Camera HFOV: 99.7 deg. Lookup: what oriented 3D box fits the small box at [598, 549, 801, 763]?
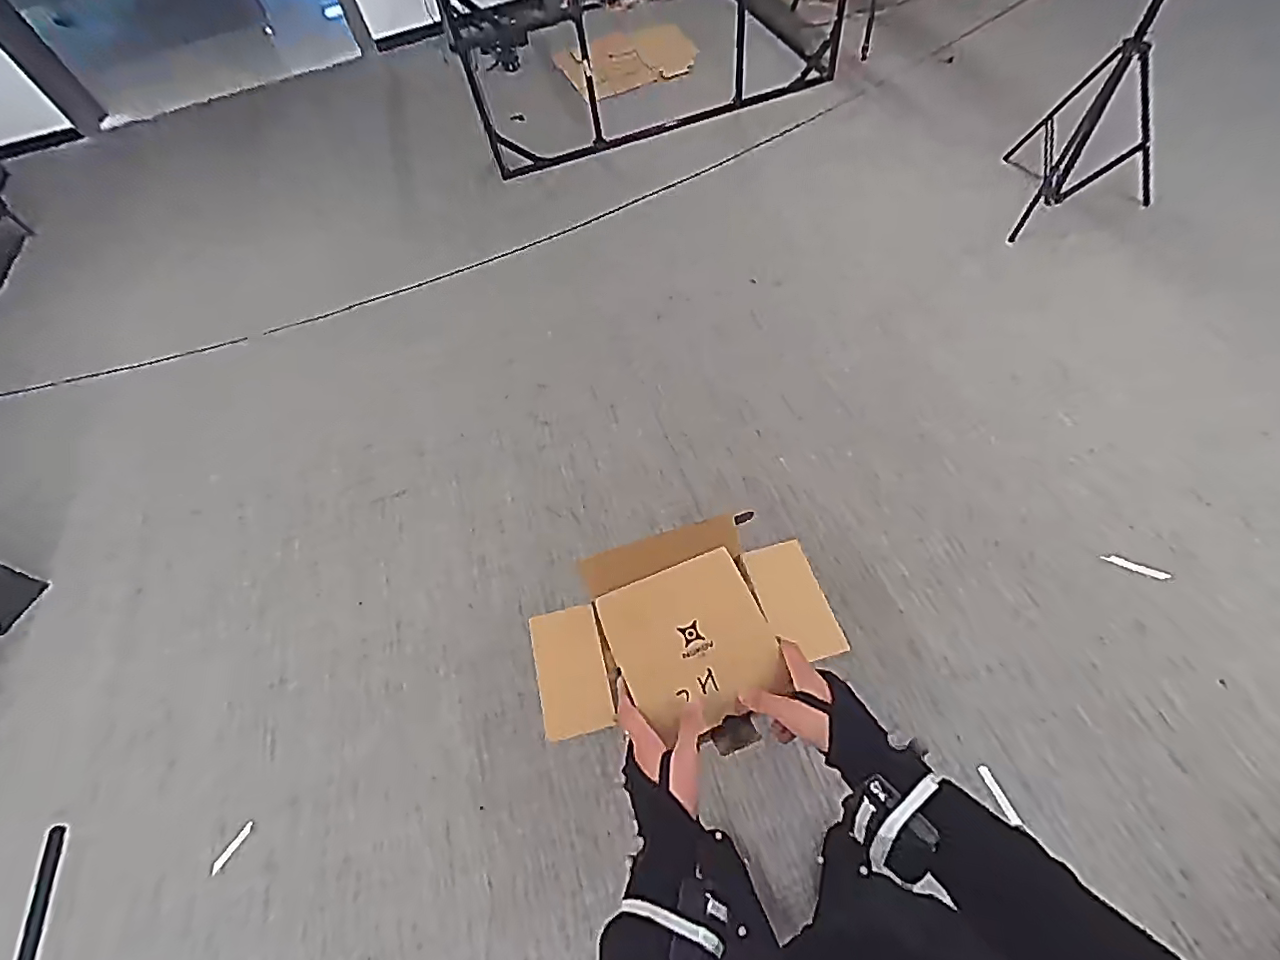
[{"bbox_3d":[0.059,0.214,0.644,0.168,0.176,0.179,-21,62,-10],"label":"small box"}]
